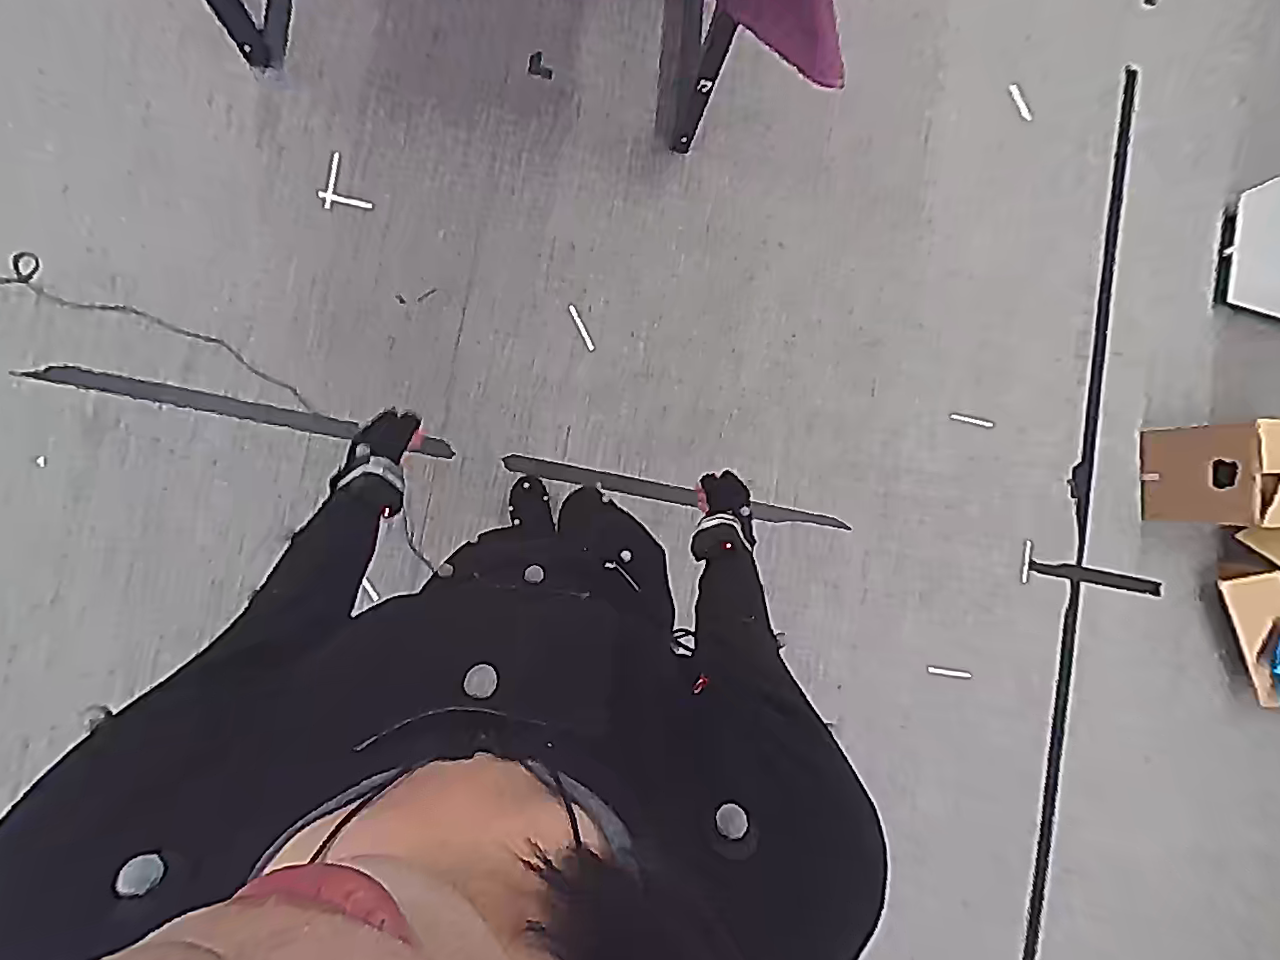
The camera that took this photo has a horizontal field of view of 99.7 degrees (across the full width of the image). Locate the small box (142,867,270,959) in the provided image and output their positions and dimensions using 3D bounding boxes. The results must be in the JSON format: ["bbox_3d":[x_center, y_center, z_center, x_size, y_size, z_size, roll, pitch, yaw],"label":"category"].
[{"bbox_3d":[-1.015,1.066,1.264,0.168,0.176,0.179,26,84,-8],"label":"small box"}]
